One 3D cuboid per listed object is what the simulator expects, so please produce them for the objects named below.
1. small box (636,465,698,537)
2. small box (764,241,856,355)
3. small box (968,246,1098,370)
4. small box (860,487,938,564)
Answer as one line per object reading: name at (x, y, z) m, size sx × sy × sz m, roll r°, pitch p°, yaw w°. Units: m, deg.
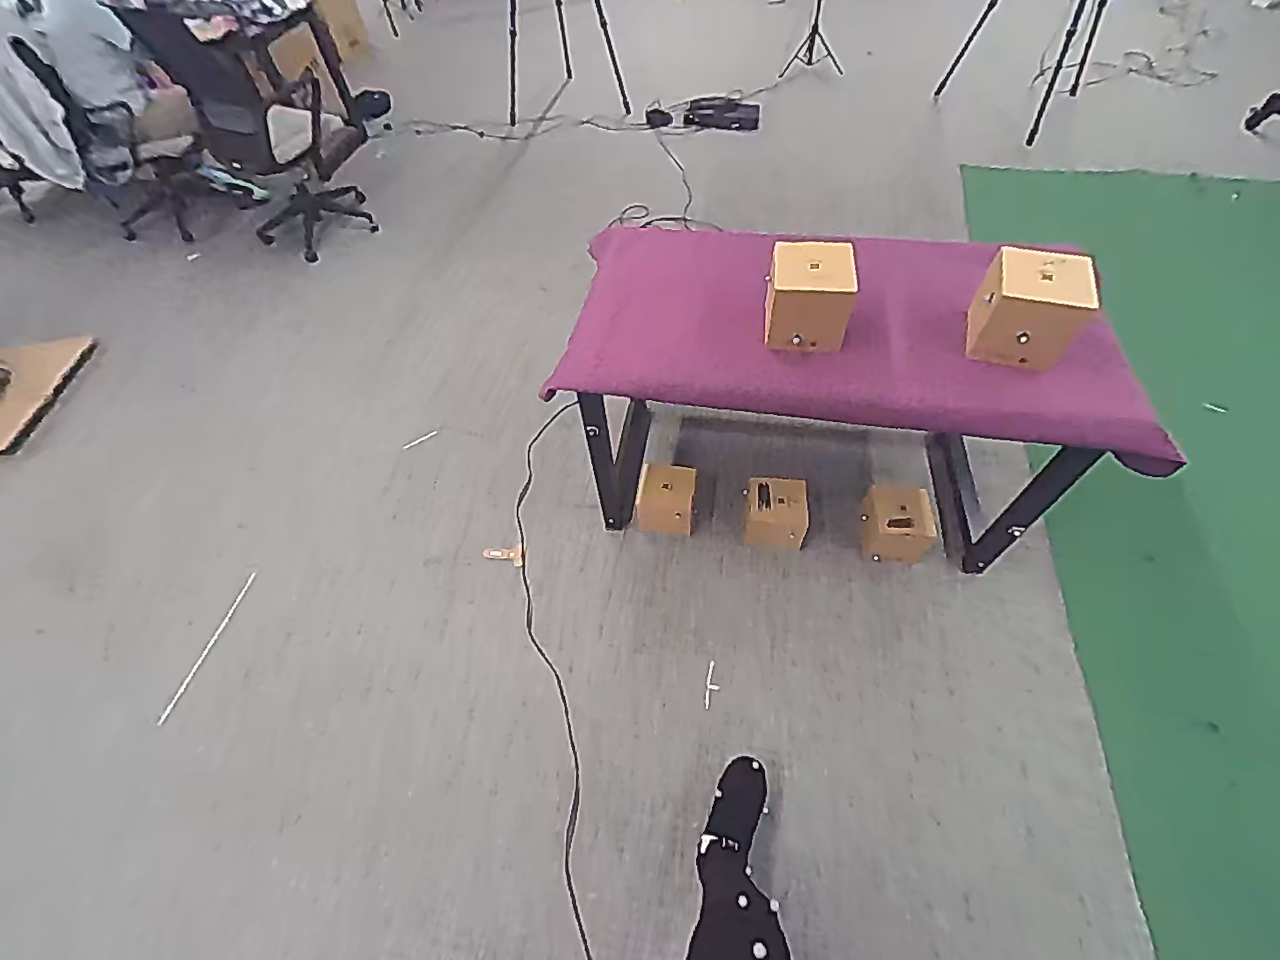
small box at (0.093, 0.072, 1.775) m, size 0.179 × 0.176 × 0.168 m, roll 6°, pitch 55°, yaw 9°
small box at (0.369, -0.403, 1.198) m, size 0.168 × 0.176 × 0.179 m, roll 5°, pitch 56°, yaw 9°
small box at (0.807, -0.354, 1.126) m, size 0.168 × 0.176 × 0.179 m, roll 15°, pitch 57°, yaw 15°
small box at (0.789, 0.143, 1.666) m, size 0.168 × 0.176 × 0.179 m, roll 4°, pitch 54°, yaw 7°
